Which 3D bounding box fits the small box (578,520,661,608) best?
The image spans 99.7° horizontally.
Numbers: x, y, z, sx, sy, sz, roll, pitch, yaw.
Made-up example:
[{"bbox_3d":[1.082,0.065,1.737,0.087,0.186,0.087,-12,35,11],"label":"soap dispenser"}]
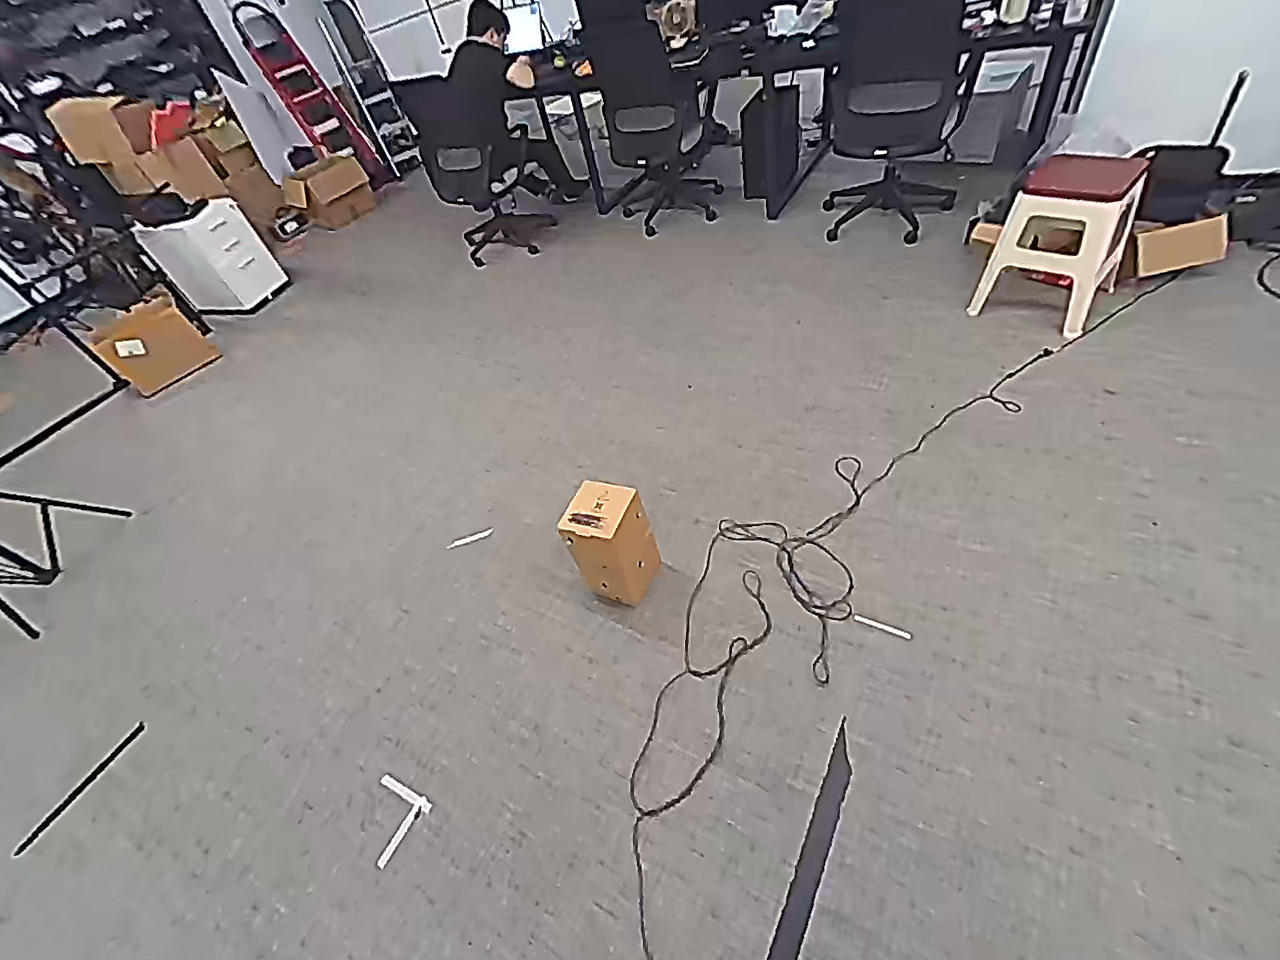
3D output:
[{"bbox_3d":[-0.053,0.250,1.599,0.168,0.176,0.179,14,53,27],"label":"small box"}]
